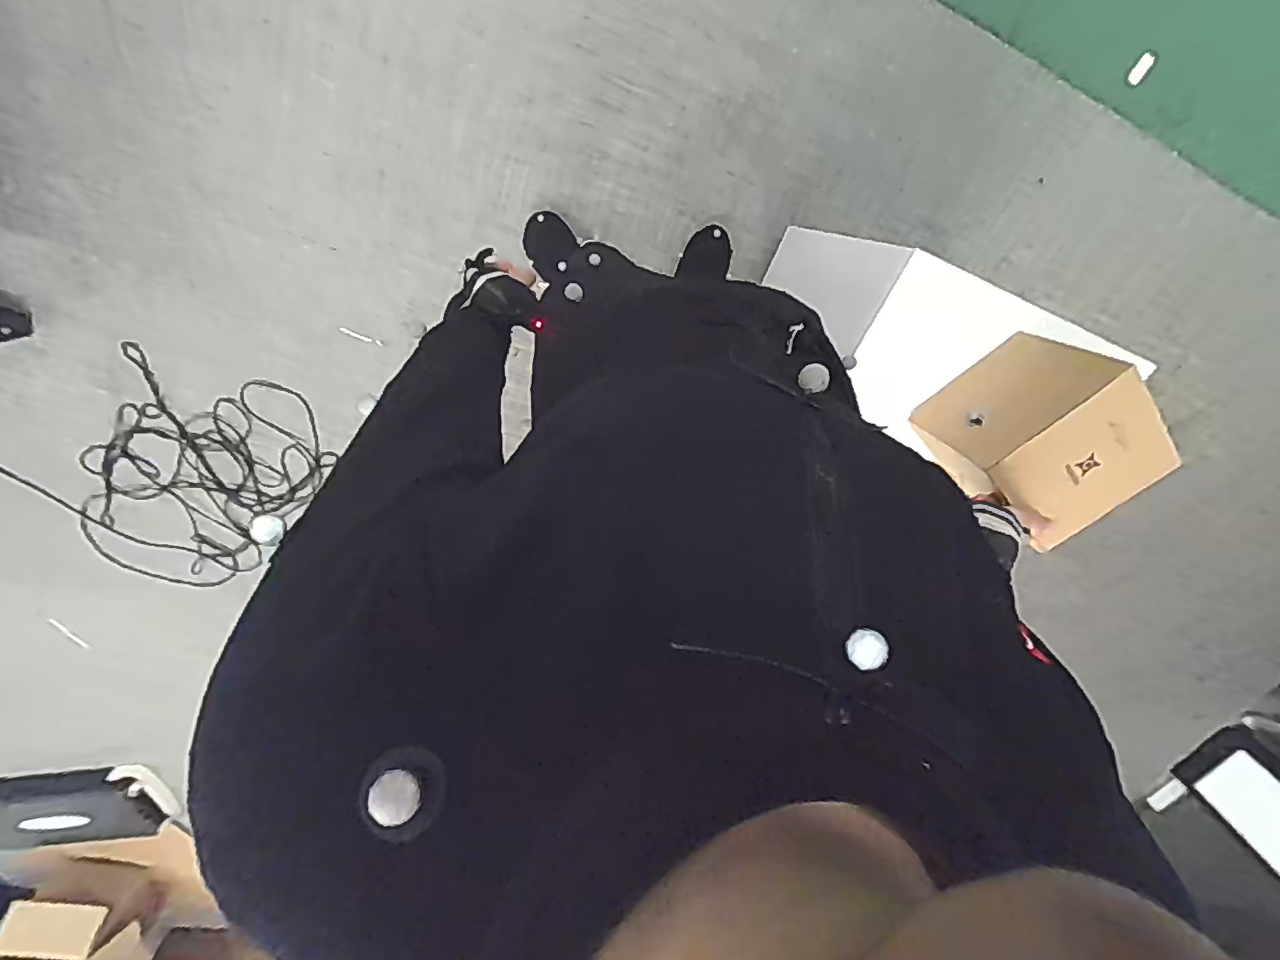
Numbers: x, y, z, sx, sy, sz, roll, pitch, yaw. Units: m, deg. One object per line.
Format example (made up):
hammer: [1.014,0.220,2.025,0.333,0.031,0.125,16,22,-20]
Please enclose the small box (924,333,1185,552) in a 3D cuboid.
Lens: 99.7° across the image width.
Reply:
small box: [0.490,-0.052,0.669,0.179,0.176,0.168,-42,114,13]
